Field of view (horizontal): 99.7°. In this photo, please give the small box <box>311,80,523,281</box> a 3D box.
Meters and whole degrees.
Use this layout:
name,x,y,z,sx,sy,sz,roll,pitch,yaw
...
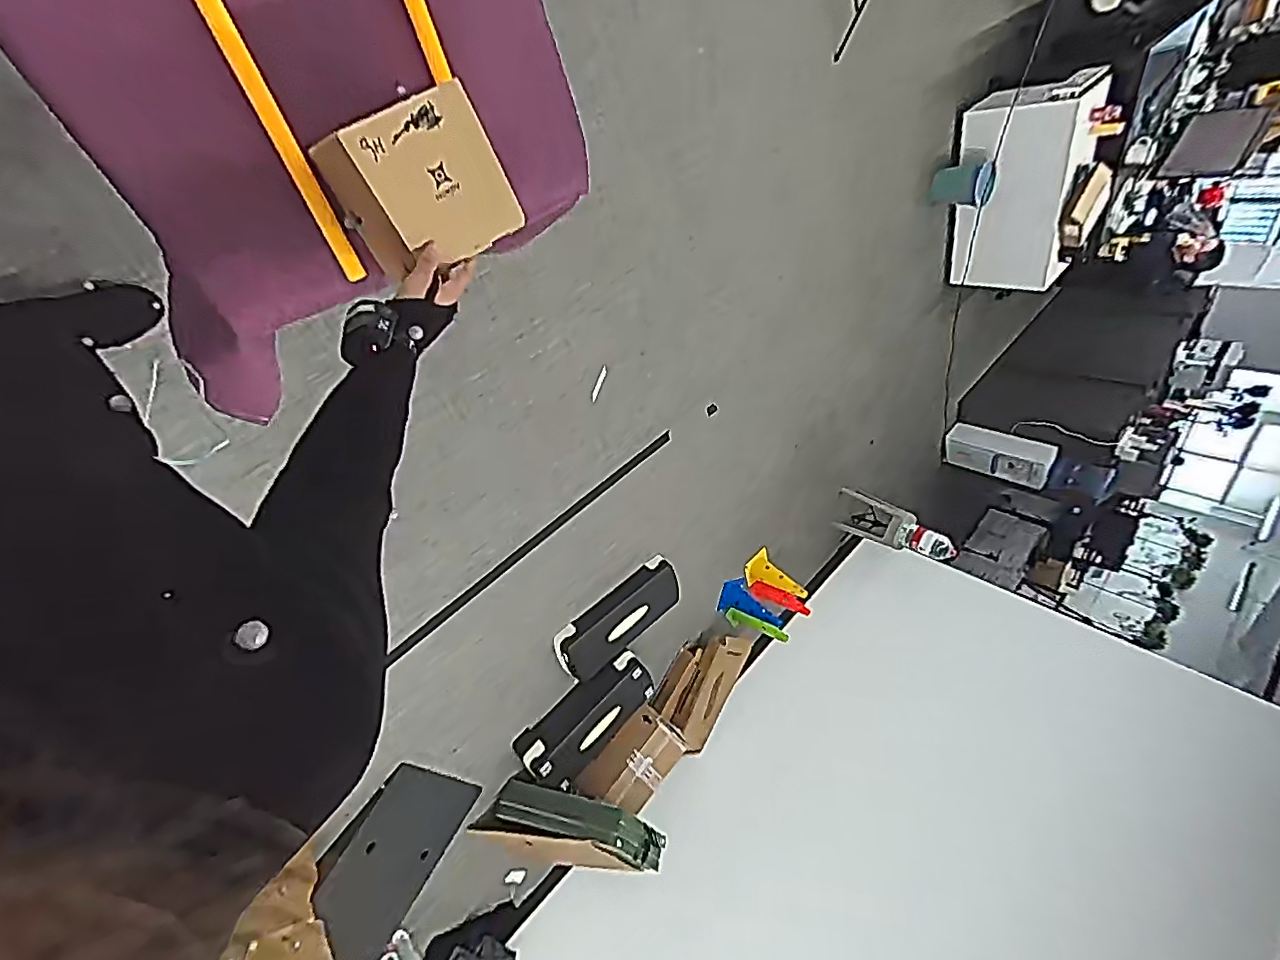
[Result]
name,x,y,z,sx,sy,sz,roll,pitch,yaw
small box,-0.294,-0.389,0.718,0.168,0.176,0.179,-42,132,-21
